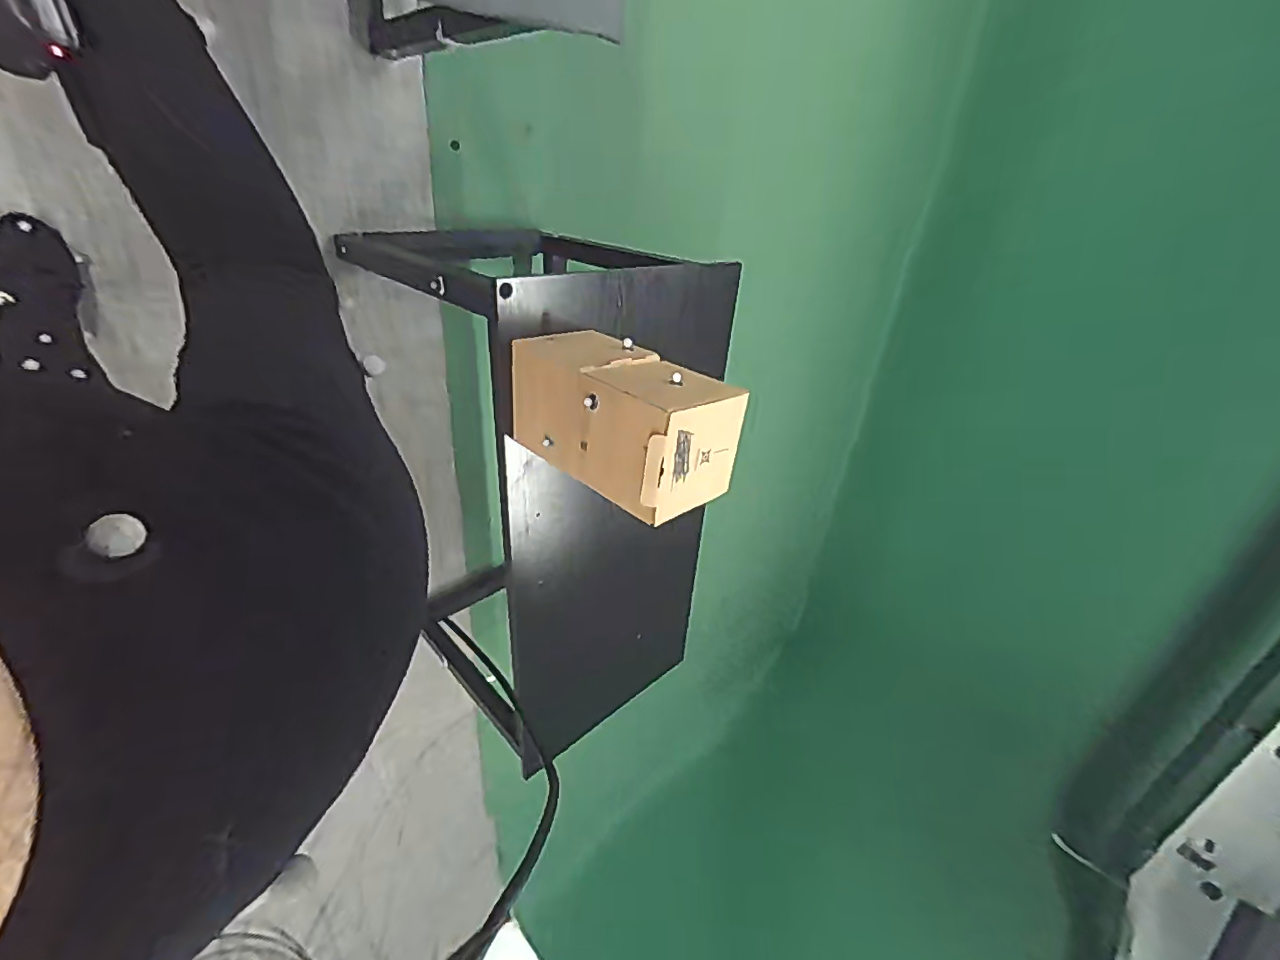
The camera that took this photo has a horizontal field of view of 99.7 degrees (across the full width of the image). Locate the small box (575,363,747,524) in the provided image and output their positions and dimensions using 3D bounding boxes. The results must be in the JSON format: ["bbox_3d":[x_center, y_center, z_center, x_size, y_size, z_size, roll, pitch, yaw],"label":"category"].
[{"bbox_3d":[0.024,-0.064,0.785,0.179,0.176,0.168,-19,128,-42],"label":"small box"}]
